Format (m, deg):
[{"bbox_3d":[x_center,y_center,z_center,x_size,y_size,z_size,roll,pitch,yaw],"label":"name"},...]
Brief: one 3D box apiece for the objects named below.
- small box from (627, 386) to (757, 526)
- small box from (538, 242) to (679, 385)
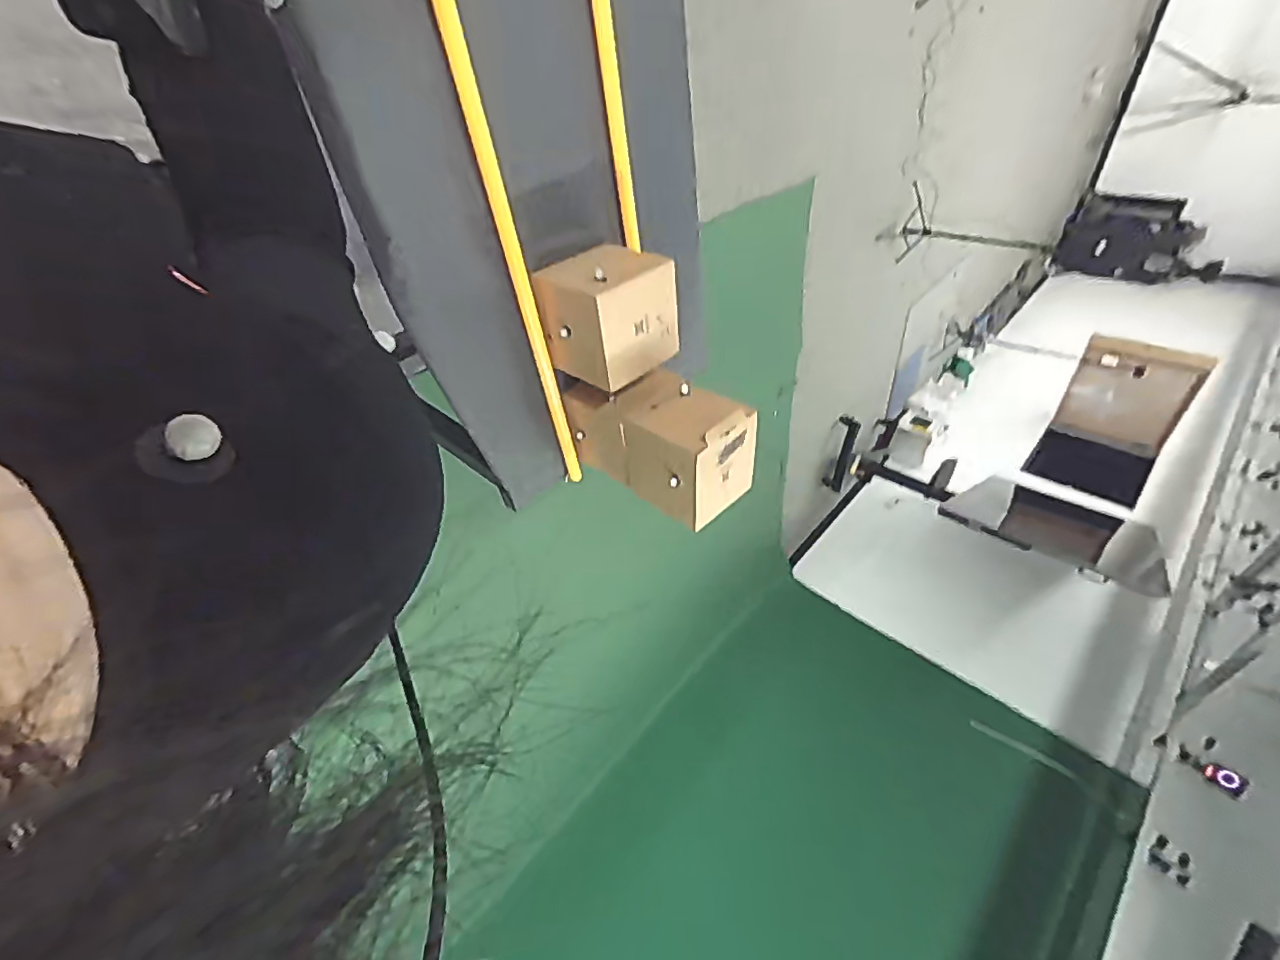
[{"bbox_3d":[0.091,-0.054,0.980,0.168,0.176,0.179,-35,138,-31],"label":"small box"},{"bbox_3d":[-0.055,-0.289,0.921,0.179,0.176,0.168,-37,139,-30],"label":"small box"}]
